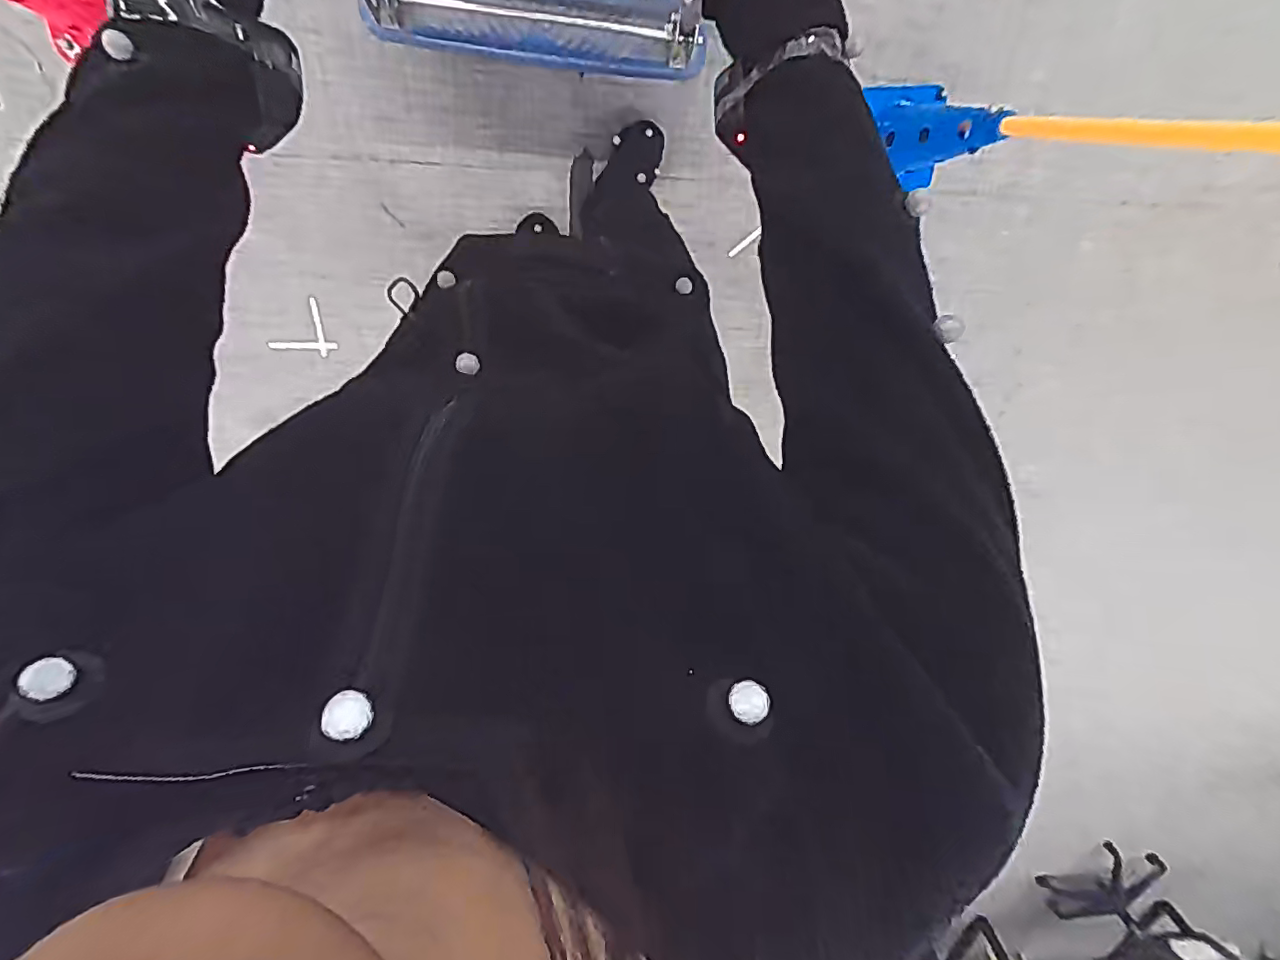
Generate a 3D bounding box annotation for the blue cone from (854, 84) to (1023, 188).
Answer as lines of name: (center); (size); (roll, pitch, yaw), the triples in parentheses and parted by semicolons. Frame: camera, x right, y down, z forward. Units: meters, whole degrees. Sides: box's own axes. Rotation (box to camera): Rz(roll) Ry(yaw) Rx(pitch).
blue cone: (0.581, -0.671, 1.035); (0.193, 0.380, 0.192); (-3, 118, -5)
